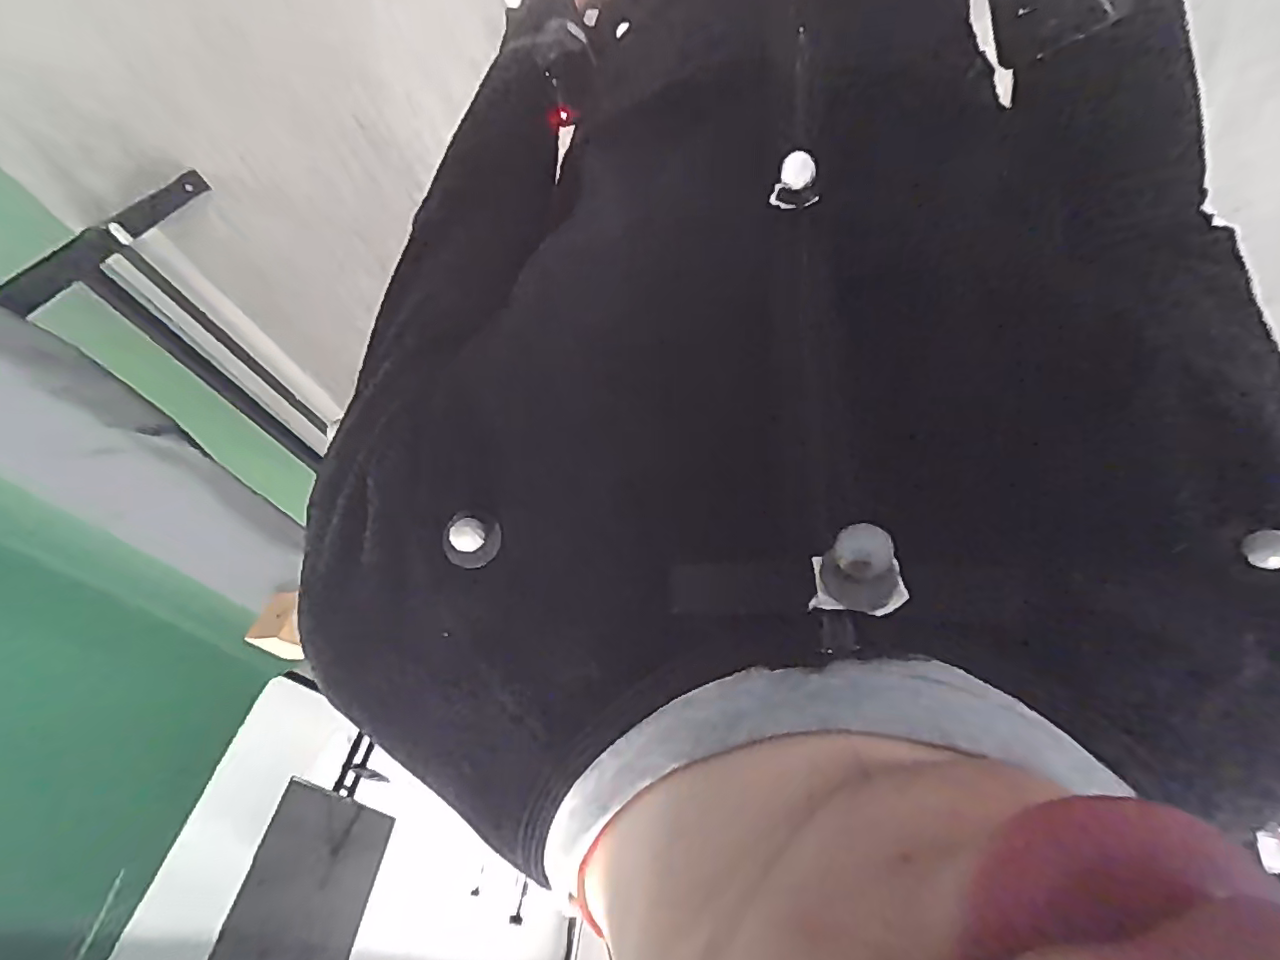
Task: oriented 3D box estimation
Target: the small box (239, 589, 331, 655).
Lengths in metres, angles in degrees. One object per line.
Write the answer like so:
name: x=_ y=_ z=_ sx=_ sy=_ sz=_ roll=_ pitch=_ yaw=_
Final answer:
small box: x=-1.190 y=0.480 z=1.833 sx=0.179 sy=0.176 sz=0.168 roll=-10 pitch=137 yaw=22
